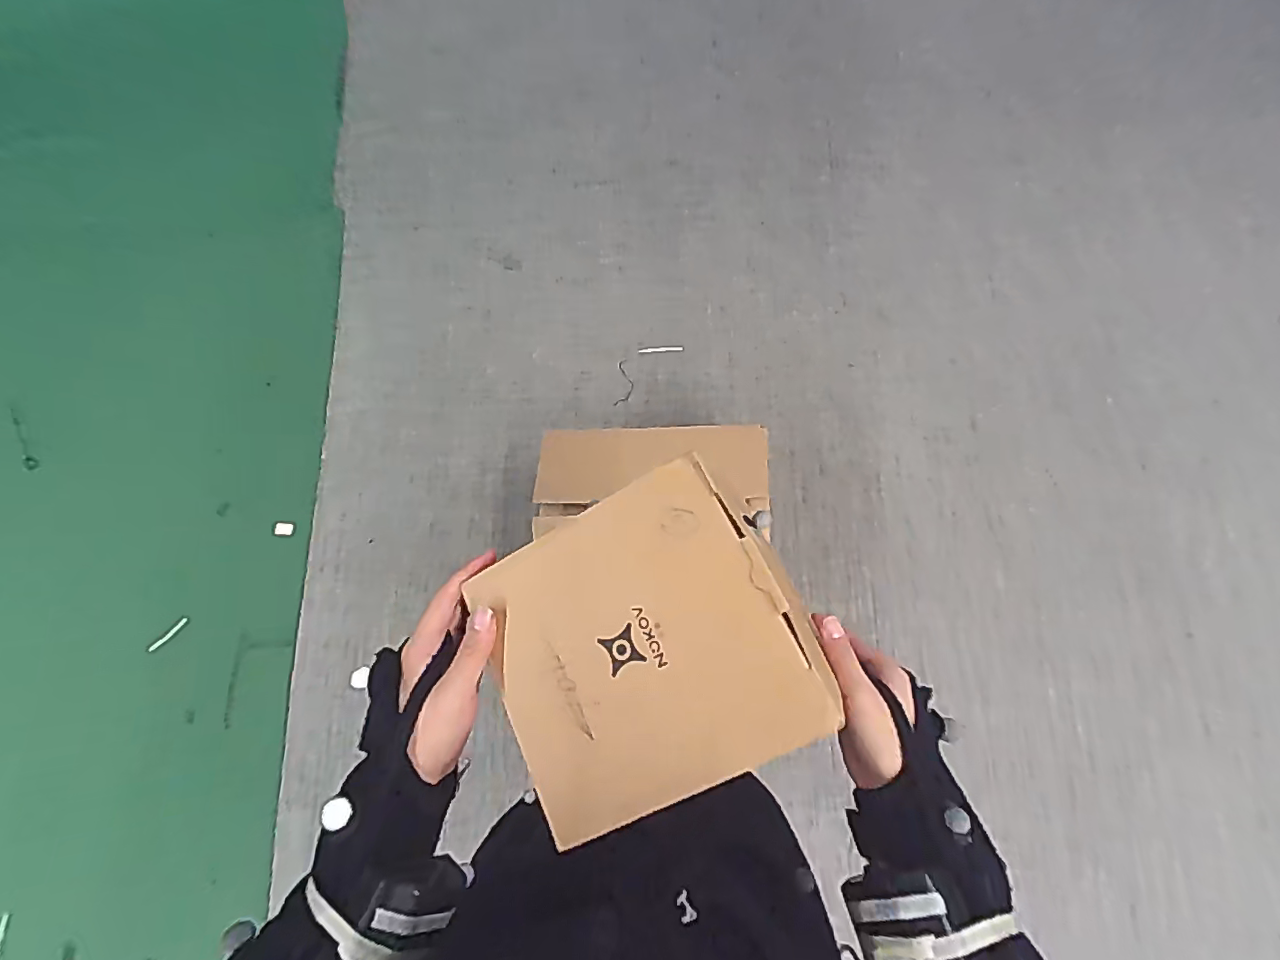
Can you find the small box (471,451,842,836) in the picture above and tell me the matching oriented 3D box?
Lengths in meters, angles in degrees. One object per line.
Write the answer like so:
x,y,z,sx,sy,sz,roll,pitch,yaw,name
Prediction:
0.020,0.105,0.388,0.179,0.176,0.168,-31,71,11,small box
